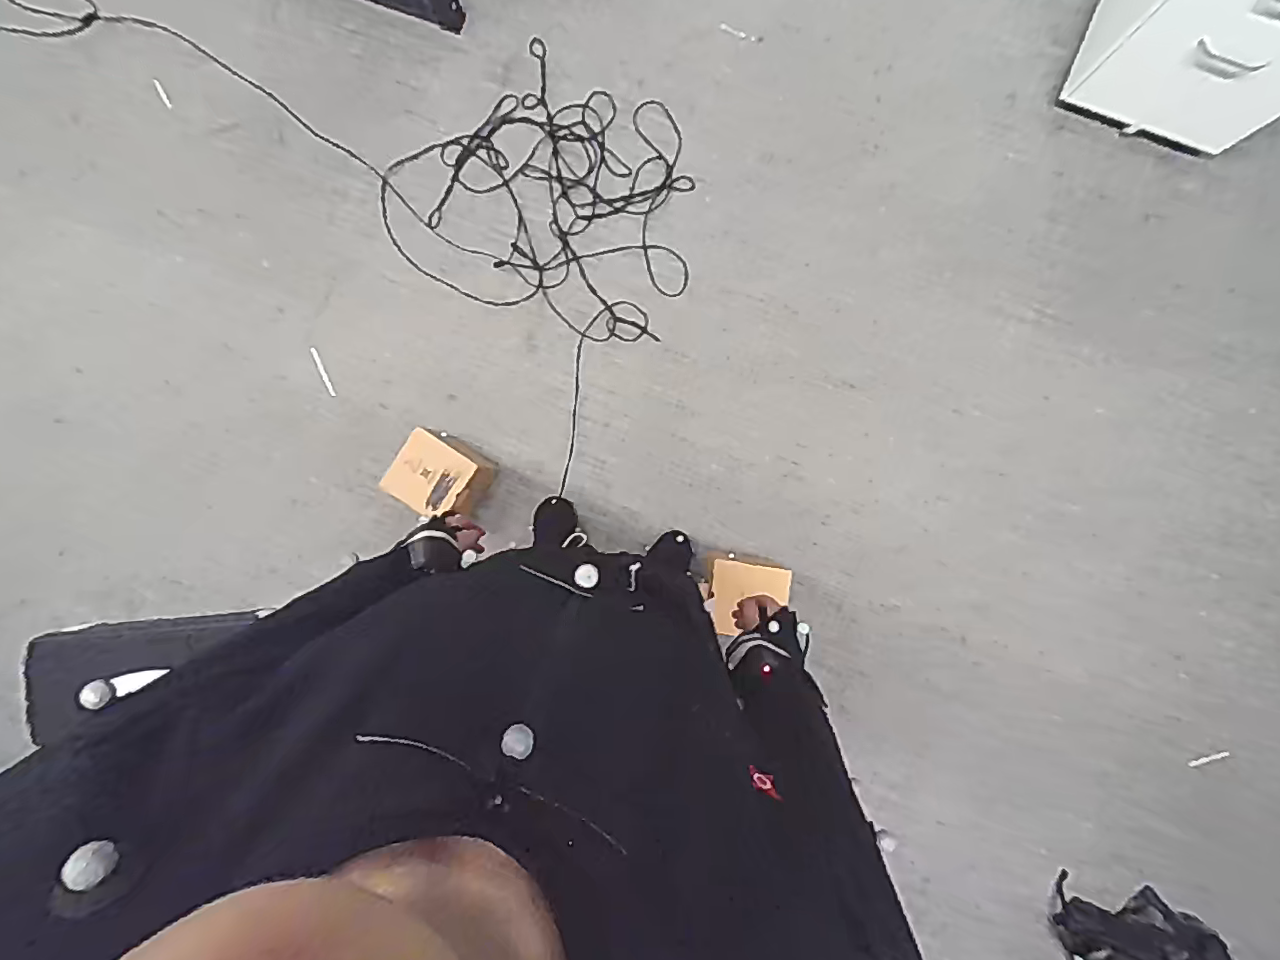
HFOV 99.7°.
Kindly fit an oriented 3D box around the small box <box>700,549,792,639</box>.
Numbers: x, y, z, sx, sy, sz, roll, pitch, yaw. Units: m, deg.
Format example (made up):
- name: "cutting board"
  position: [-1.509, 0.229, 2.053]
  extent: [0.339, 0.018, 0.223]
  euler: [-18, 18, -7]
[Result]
- name: "small box"
  position: [0.246, 0.264, 1.288]
  extent: [0.179, 0.176, 0.168]
  euler: [8, 90, 3]
